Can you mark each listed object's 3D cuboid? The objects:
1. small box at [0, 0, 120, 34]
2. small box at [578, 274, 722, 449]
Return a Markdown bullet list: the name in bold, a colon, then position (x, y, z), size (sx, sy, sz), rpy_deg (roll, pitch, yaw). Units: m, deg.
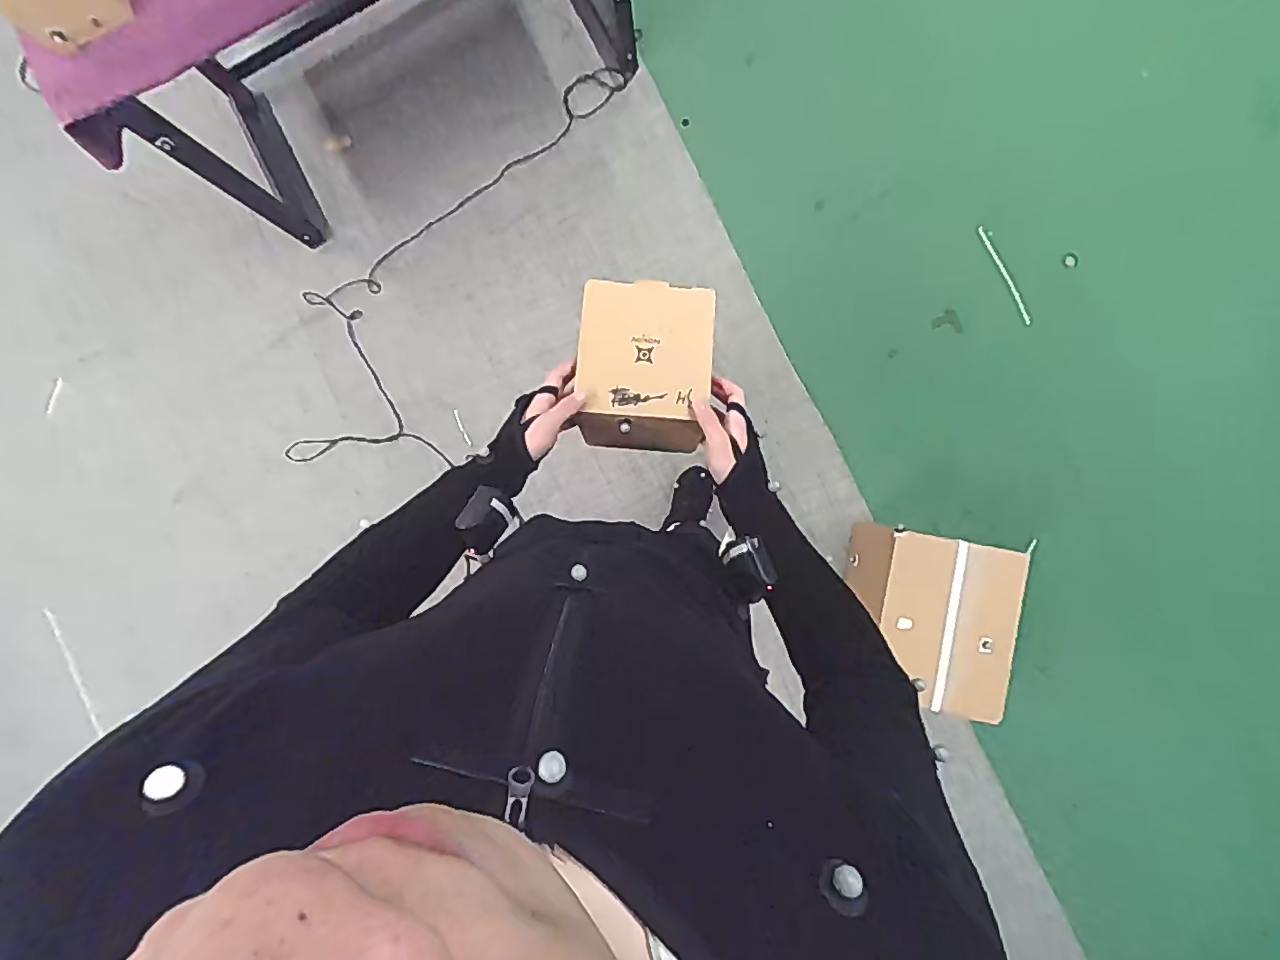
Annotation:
- **small box**: position (-1.044, -0.907, 0.908), size (0.168, 0.176, 0.179), rpy_deg (-24, 86, 3)
- **small box**: position (0.013, -0.151, 0.736), size (0.168, 0.176, 0.179), rpy_deg (5, 81, 1)
